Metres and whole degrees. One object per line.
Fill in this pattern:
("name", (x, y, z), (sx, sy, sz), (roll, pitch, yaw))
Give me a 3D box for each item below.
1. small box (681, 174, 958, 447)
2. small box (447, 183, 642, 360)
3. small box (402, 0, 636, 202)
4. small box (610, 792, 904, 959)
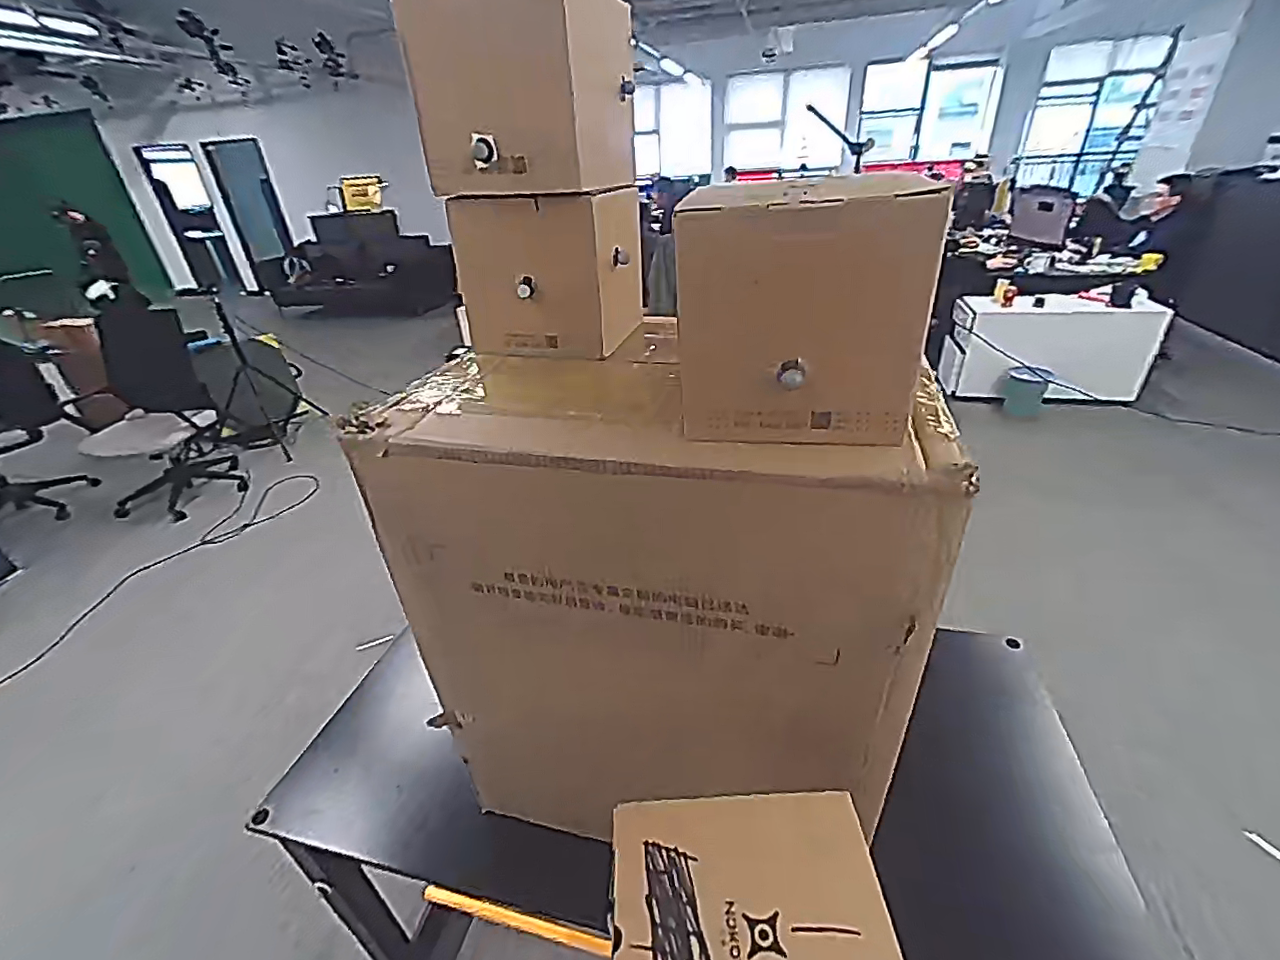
("small box", (0.128, -0.142, 0.438), (0.168, 0.176, 0.179), (2, 33, 13))
("small box", (-0.095, -0.250, 0.644), (0.168, 0.176, 0.179), (6, 32, 13))
("small box", (-0.104, -0.382, 0.547), (0.168, 0.176, 0.179), (6, 32, 16))
("small box", (0.076, 0.346, 0.372), (0.179, 0.176, 0.168), (-5, 31, 3))
